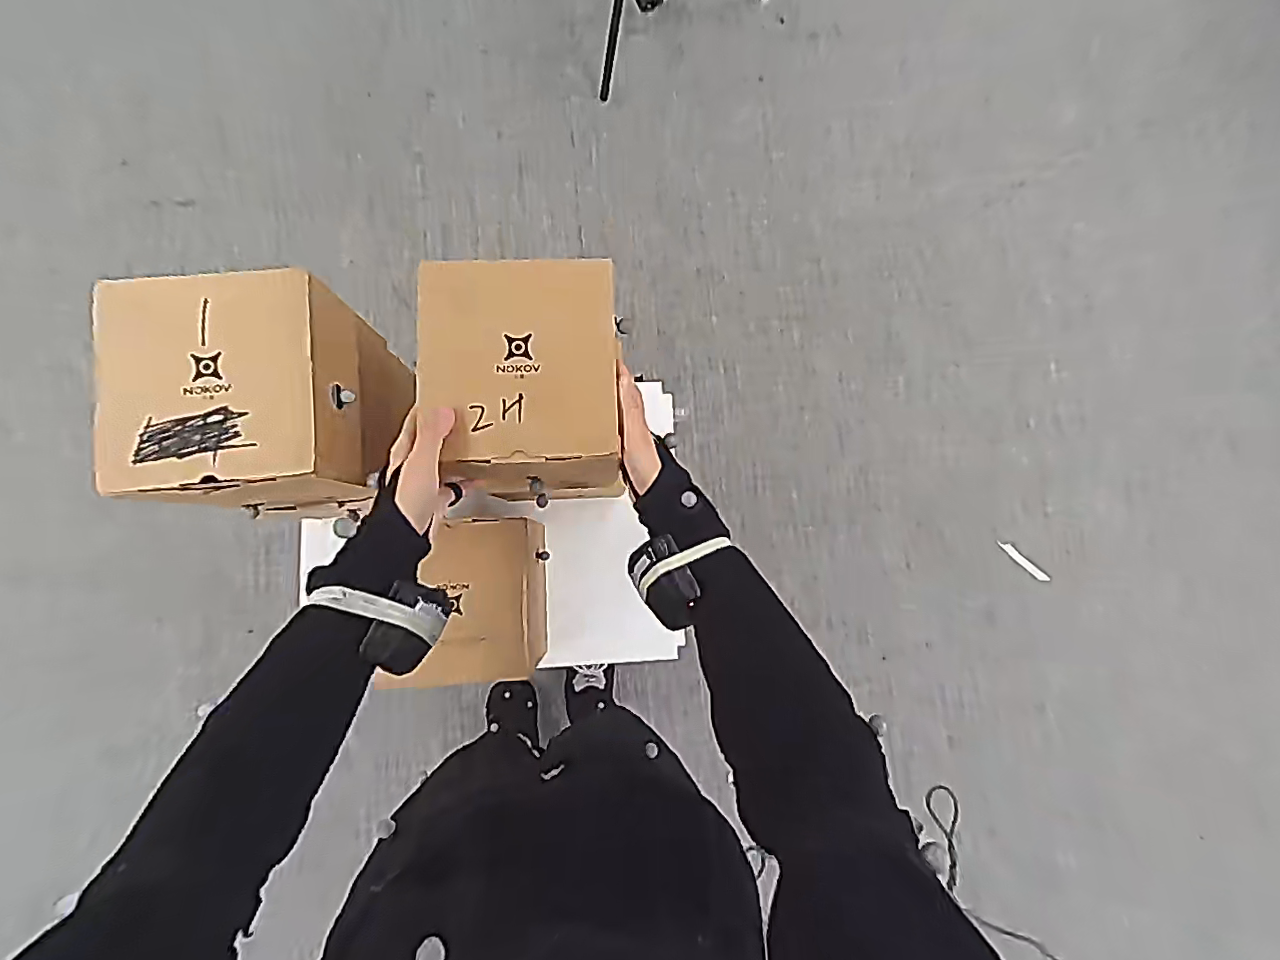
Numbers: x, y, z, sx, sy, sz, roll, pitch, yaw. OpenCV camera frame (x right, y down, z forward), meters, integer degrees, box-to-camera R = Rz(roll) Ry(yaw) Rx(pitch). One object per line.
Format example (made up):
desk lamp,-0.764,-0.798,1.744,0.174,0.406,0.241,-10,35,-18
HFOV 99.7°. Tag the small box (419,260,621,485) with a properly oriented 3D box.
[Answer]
small box,-0.104,-0.093,0.533,0.168,0.176,0.179,-2,84,-2

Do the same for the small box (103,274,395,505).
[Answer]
small box,-0.348,-0.070,0.514,0.168,0.176,0.179,-6,84,-5

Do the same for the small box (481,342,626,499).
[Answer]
small box,-0.103,-0.066,0.696,0.168,0.176,0.179,-2,83,-3
